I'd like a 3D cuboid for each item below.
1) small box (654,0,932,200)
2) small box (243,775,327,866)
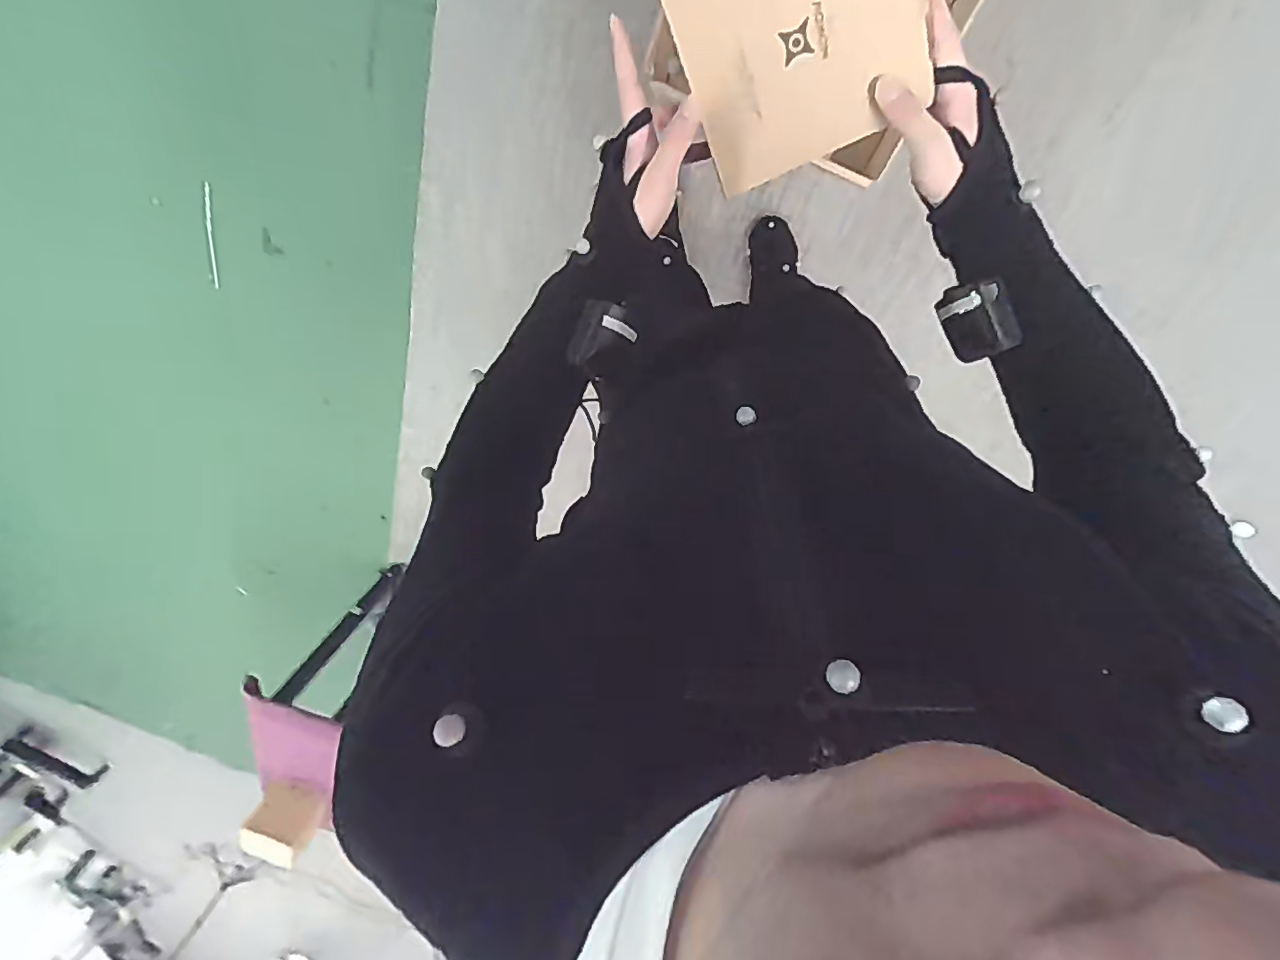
[{"bbox_3d":[0.122,-0.376,0.460,0.179,0.176,0.168,-16,127,20],"label":"small box"},{"bbox_3d":[-1.150,1.105,1.759,0.168,0.176,0.179,24,122,-3],"label":"small box"}]
